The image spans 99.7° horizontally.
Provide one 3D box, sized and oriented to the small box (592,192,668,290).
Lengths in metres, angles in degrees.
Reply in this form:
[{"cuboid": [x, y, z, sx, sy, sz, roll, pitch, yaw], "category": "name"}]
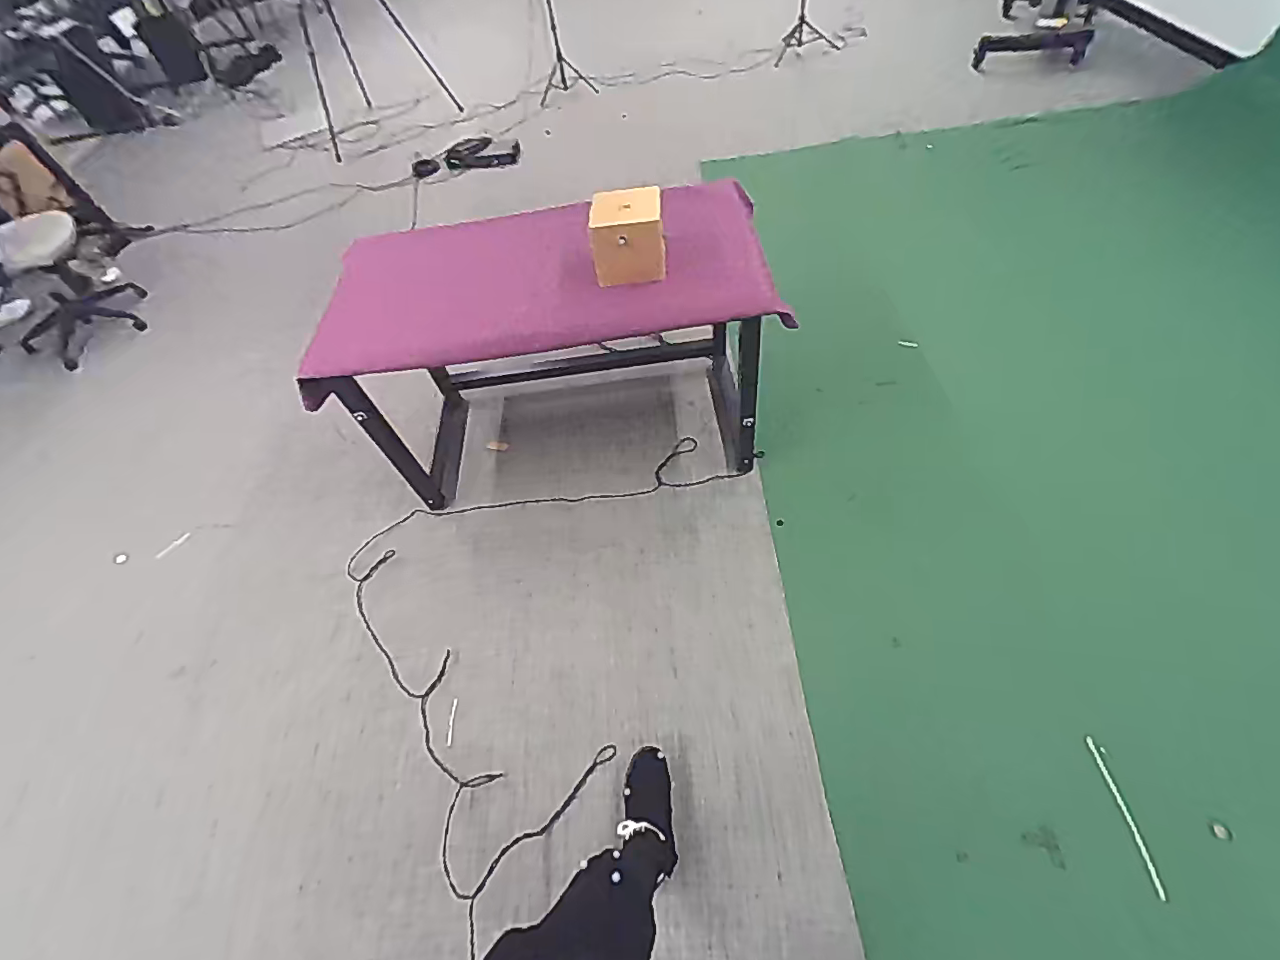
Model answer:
[{"cuboid": [-0.019, -0.617, 1.407, 0.179, 0.176, 0.168, -3, 54, 7], "category": "small box"}]
